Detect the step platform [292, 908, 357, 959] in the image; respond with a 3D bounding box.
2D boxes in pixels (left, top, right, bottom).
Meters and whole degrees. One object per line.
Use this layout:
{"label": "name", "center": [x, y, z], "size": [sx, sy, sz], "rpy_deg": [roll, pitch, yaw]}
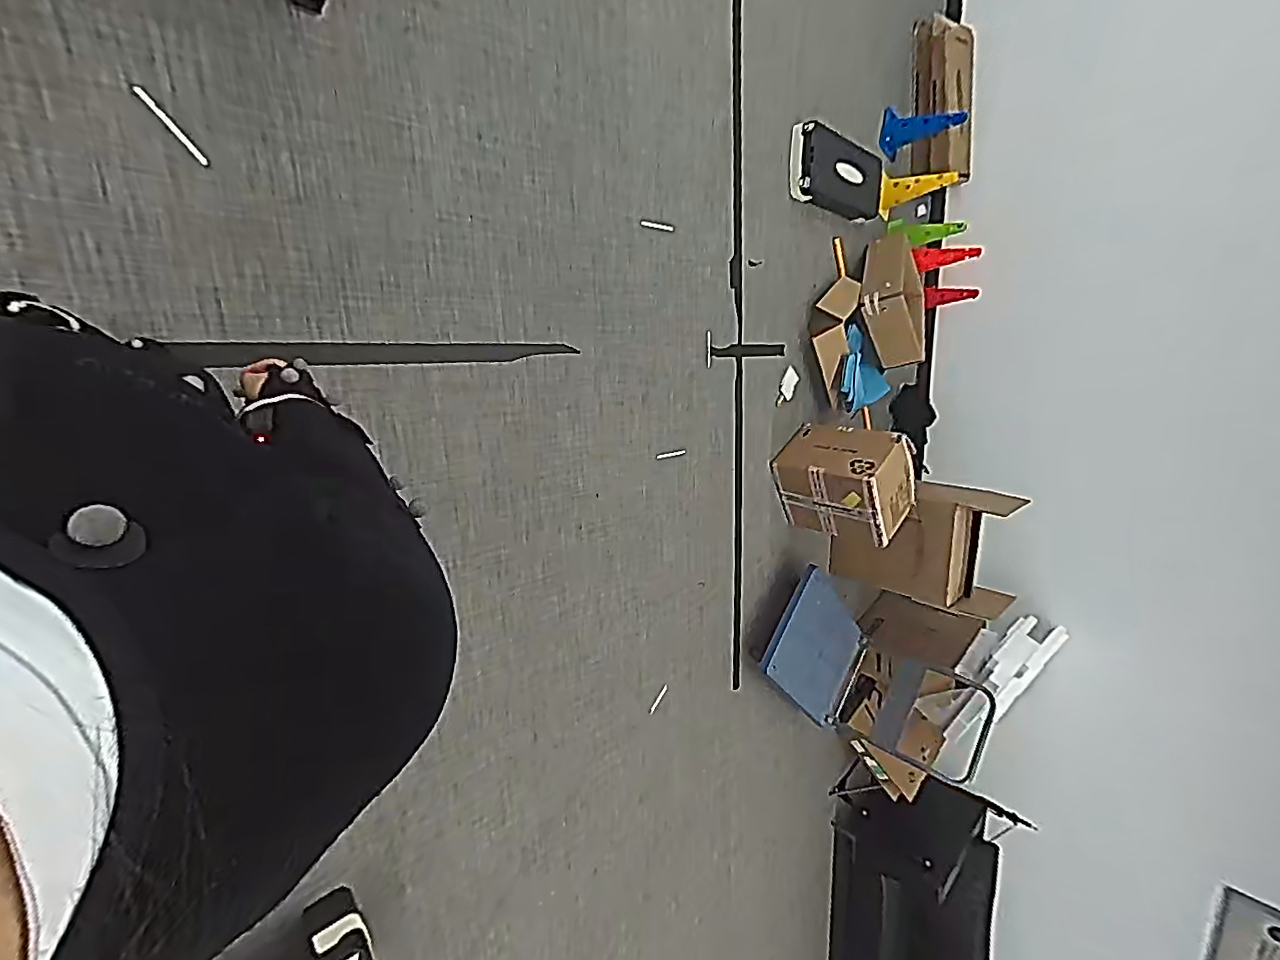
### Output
{"label": "step platform", "center": [-0.977, 1.314, 1.170], "size": [0.684, 0.204, 0.286], "rpy_deg": [-14, 109, -43]}
